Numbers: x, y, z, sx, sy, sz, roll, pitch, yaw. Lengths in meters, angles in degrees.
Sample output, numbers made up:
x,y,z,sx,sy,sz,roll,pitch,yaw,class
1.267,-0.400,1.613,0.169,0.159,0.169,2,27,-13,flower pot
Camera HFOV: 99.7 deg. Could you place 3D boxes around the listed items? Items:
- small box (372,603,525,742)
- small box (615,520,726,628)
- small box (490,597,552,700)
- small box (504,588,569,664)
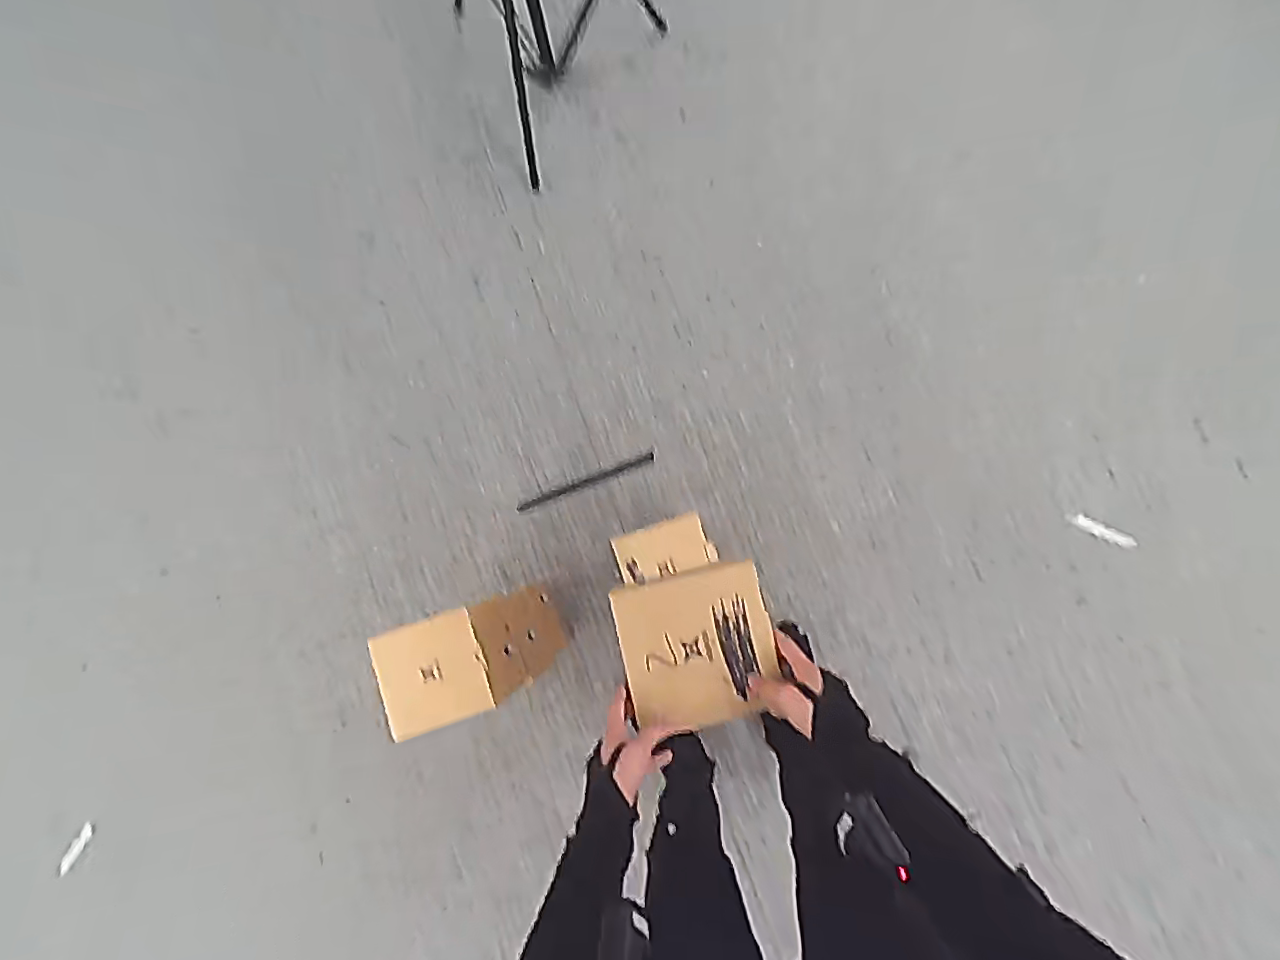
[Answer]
x,y,z,sx,sy,sz,roll,pitch,yaw,class
-0.322,0.322,0.937,0.179,0.176,0.168,-19,82,1,small box
0.057,0.185,1.096,0.179,0.176,0.168,-18,82,0,small box
-0.297,0.348,1.097,0.168,0.176,0.179,-24,83,1,small box
-0.282,0.362,1.259,0.168,0.176,0.179,-26,82,0,small box
